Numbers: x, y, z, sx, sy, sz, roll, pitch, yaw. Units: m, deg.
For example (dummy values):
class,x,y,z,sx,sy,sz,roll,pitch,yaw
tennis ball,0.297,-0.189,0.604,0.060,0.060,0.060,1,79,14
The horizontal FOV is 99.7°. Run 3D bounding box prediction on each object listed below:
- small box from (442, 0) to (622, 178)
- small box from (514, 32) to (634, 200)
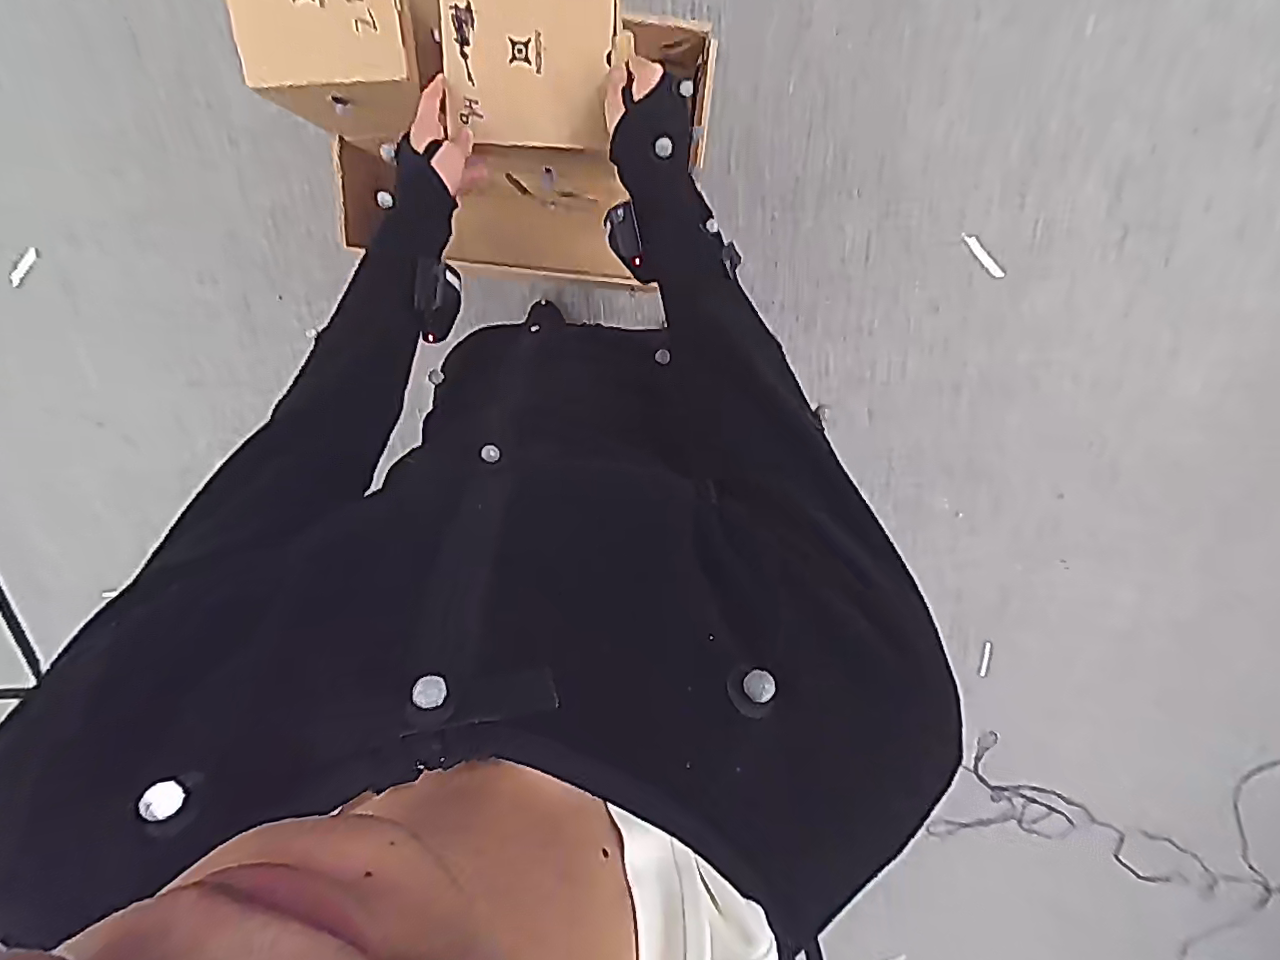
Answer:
class,x,y,z,sx,sy,sz,roll,pitch,yaw
small box,-0.112,-0.453,0.617,0.179,0.176,0.168,3,110,-2
small box,-0.102,-0.526,0.789,0.168,0.176,0.179,10,107,-1
